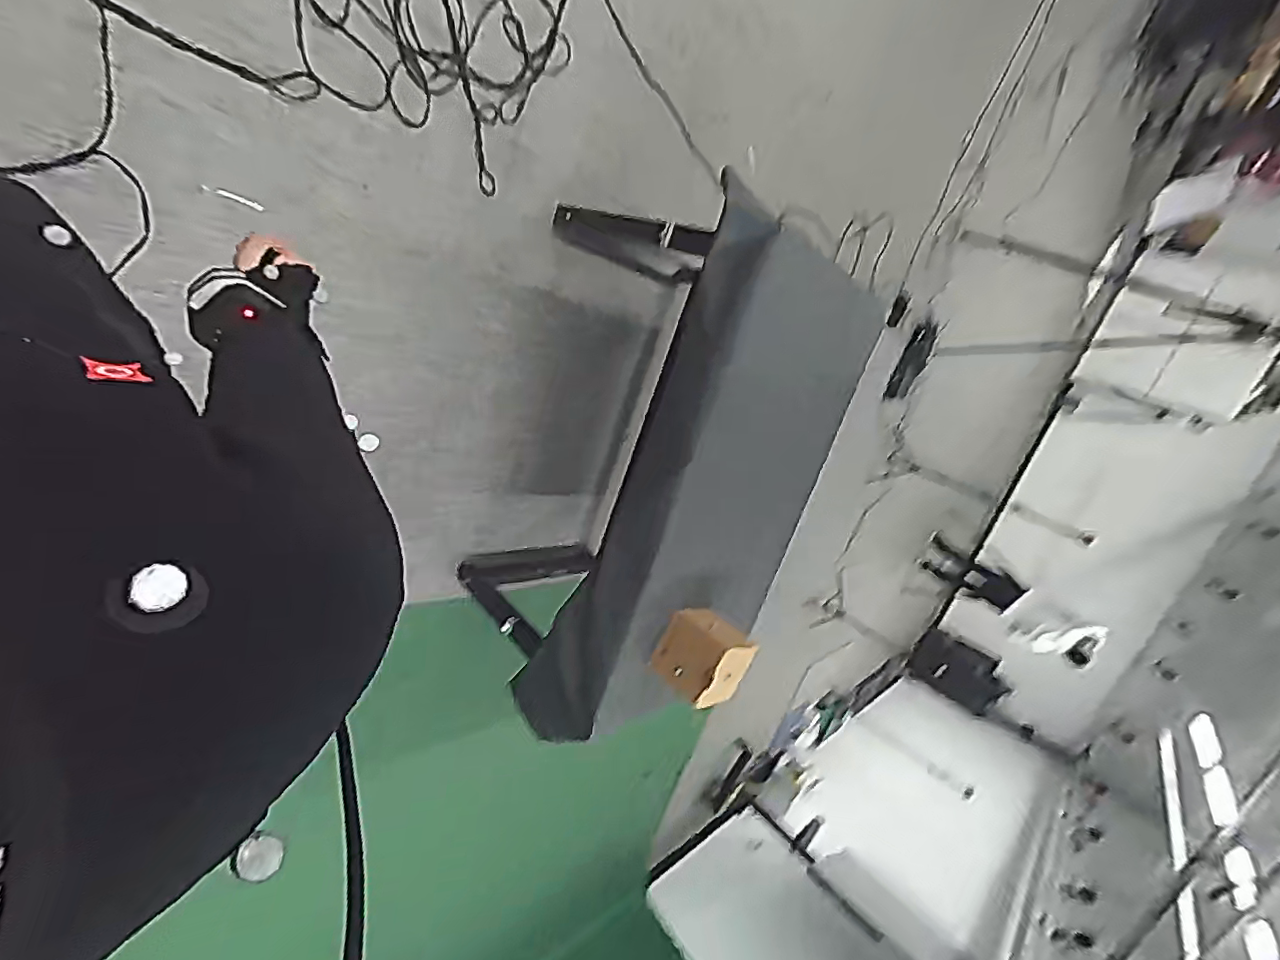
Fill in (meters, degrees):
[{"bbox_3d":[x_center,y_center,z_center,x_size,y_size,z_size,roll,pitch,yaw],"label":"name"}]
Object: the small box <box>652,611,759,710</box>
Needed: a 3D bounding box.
[{"bbox_3d":[0.161,0.443,1.352,0.179,0.176,0.168,17,102,-52],"label":"small box"}]
